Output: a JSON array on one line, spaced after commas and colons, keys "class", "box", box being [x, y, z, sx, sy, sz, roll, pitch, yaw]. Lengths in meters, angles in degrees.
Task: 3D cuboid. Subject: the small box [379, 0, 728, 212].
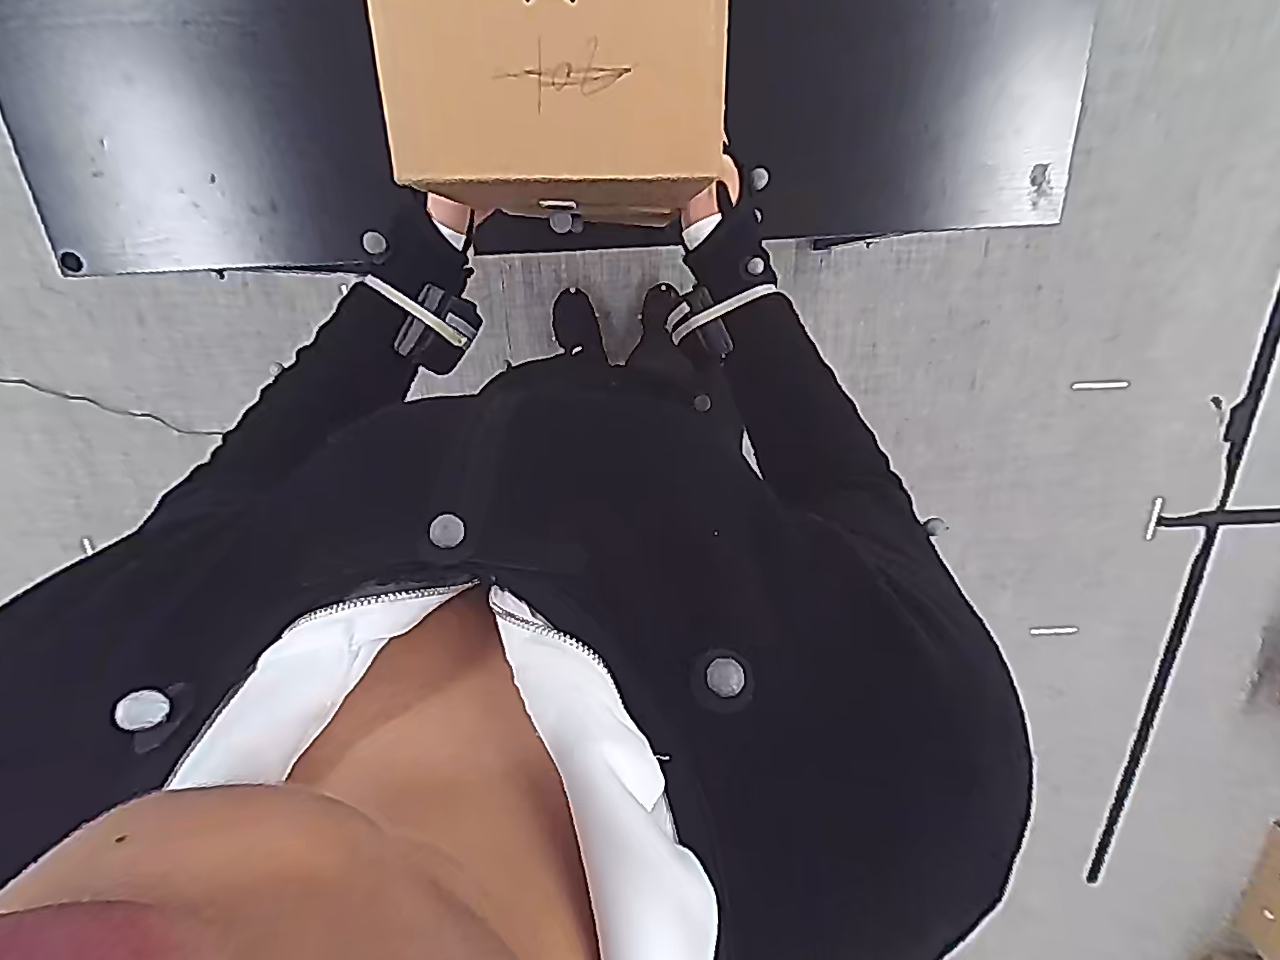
[{"class": "small box", "box": [-0.043, -0.265, 0.324, 0.168, 0.176, 0.179, -1, 113, -1]}]
